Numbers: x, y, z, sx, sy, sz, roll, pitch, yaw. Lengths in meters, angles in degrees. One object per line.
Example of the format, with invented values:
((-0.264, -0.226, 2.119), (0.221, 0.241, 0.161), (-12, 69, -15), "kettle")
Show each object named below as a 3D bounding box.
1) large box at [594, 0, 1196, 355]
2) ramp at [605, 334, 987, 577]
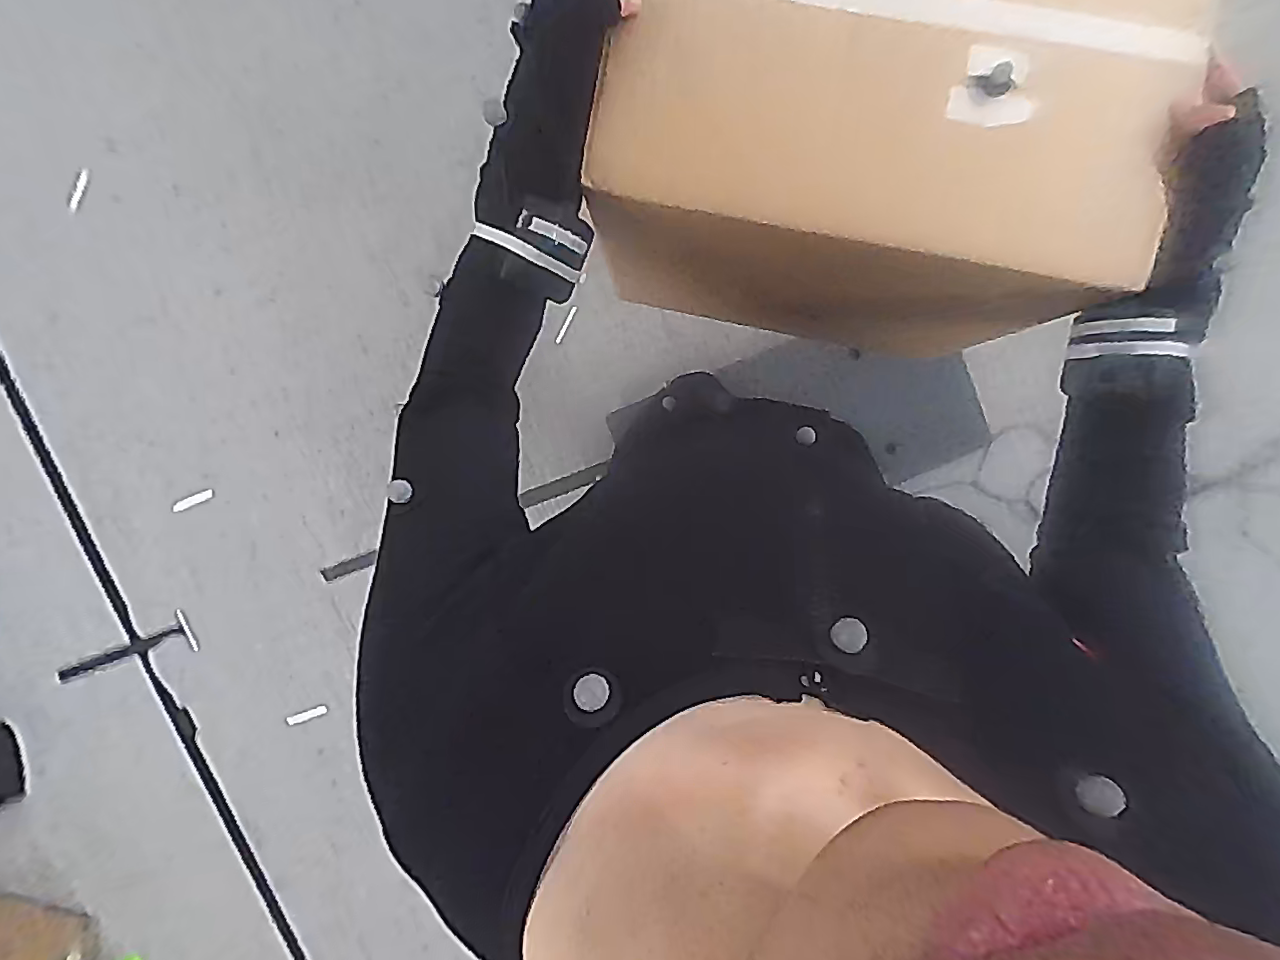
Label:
((0.190, -0.337, 0.539), (0.408, 0.320, 0.320), (12, 94, 1), "large box")
((0.449, -0.146, 1.508), (0.991, 0.206, 0.509), (-24, 93, 7), "ramp")
